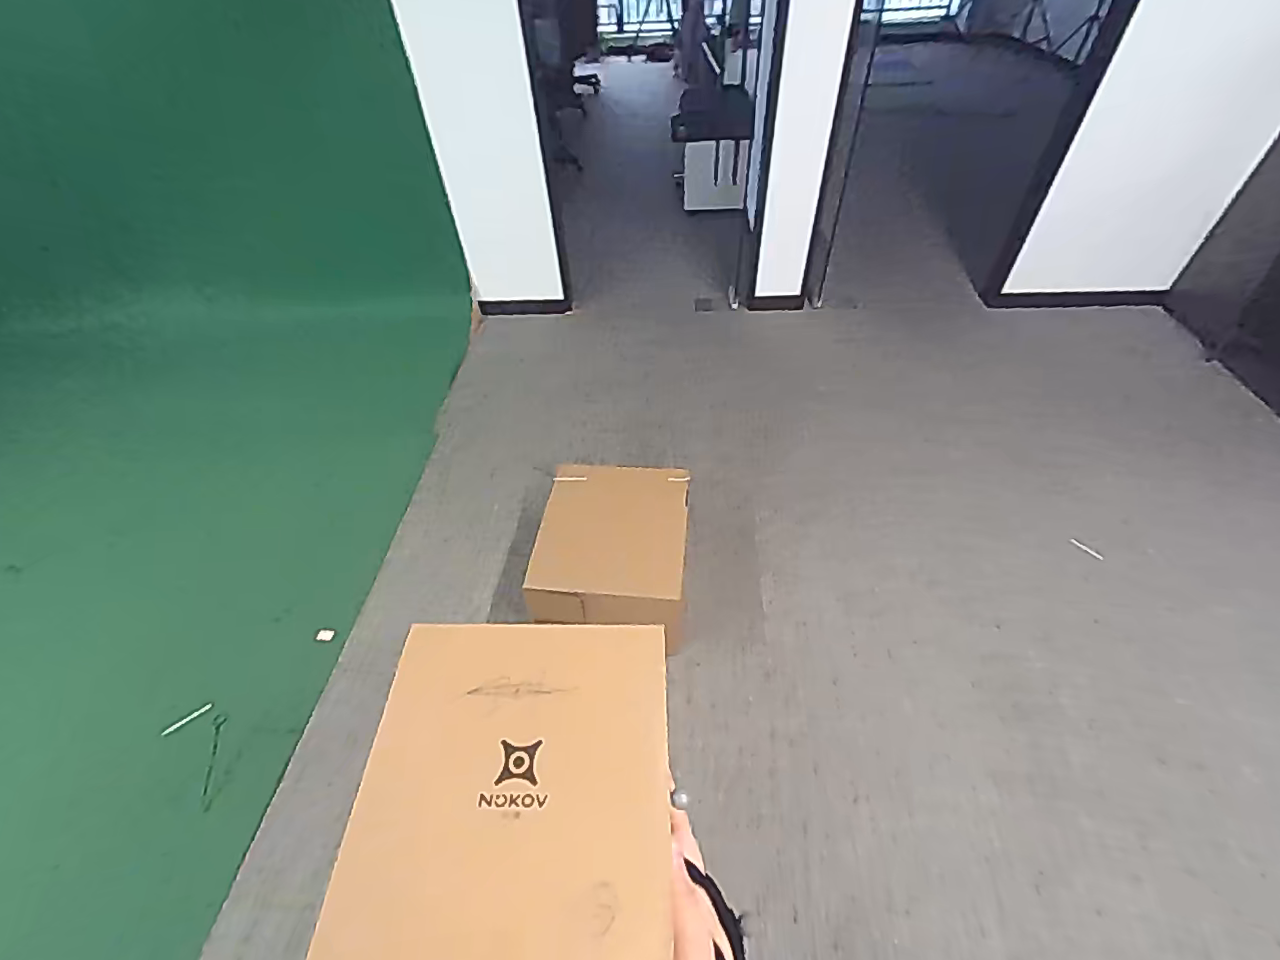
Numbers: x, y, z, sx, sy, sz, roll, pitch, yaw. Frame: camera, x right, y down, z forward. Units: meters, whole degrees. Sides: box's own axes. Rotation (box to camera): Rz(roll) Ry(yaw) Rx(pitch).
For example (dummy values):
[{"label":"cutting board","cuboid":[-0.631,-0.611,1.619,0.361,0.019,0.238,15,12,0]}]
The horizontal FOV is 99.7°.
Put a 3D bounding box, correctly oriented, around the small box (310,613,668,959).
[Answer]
[{"label":"small box","cuboid":[-0.067,0.208,0.355,0.168,0.176,0.179,2,47,0]}]
